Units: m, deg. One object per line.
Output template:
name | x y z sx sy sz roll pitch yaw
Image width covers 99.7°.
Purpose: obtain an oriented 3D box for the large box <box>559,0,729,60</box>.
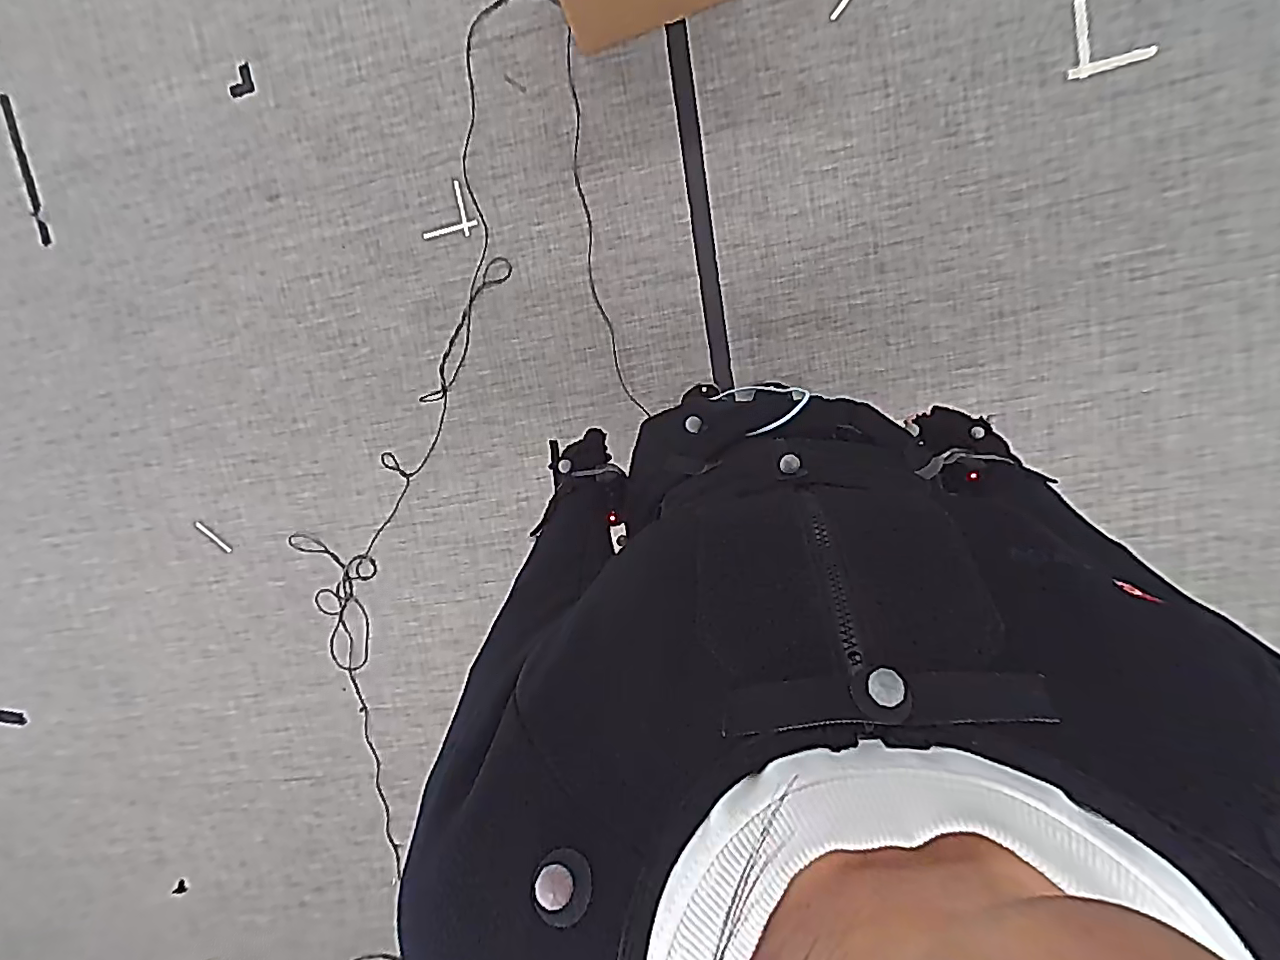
large box | -0.015 -1.179 1.111 0.408 0.320 0.320 -15 99 8
